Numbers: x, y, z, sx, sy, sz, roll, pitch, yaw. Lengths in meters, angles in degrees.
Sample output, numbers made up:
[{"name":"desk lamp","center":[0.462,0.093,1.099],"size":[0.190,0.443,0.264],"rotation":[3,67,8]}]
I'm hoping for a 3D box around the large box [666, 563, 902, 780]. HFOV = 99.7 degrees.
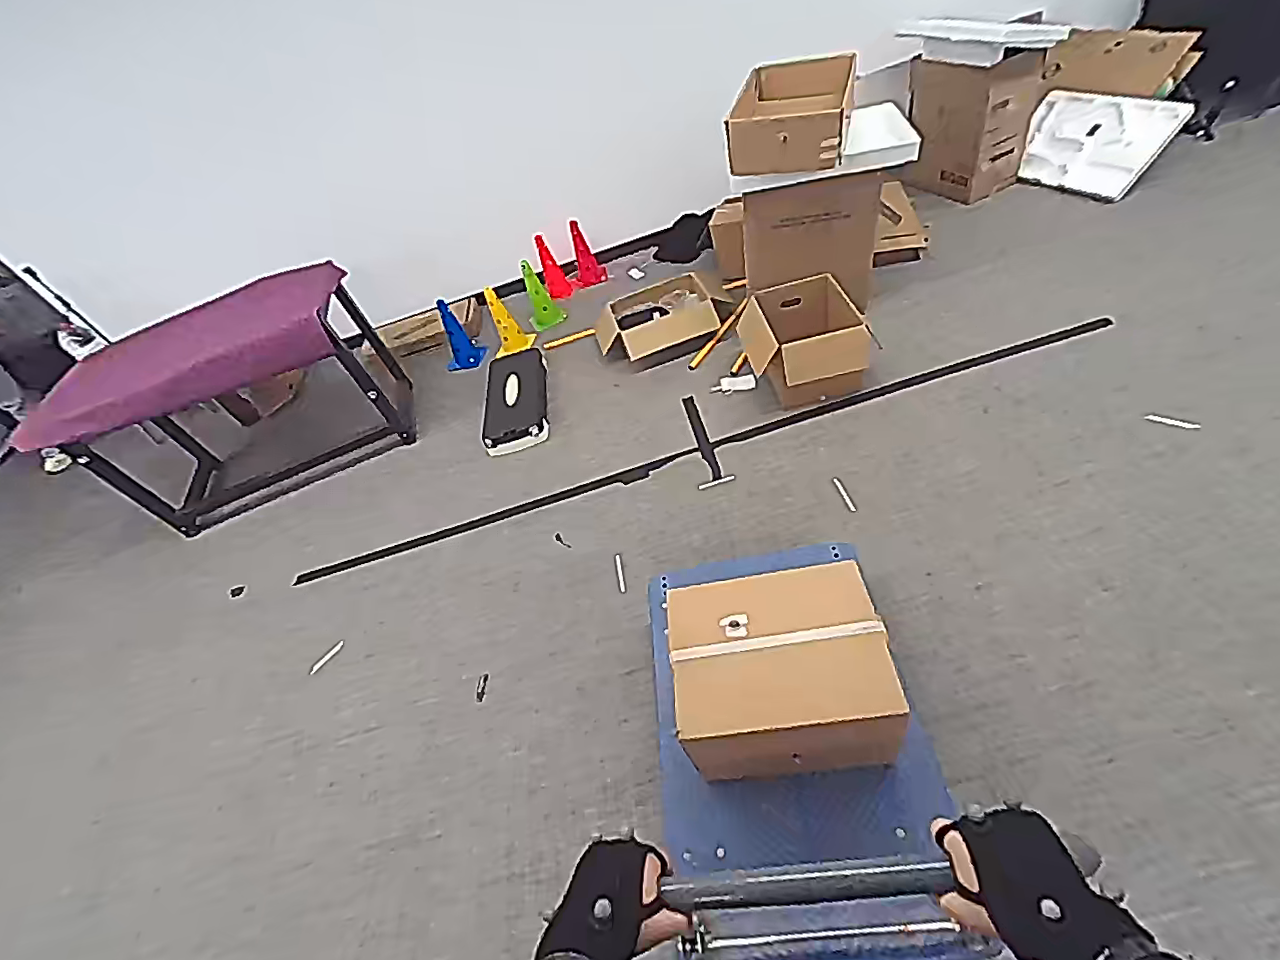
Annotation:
[{"name":"large box","center":[0.295,0.423,1.168],"size":[0.408,0.320,0.320],"rotation":[-12,45,10]}]
